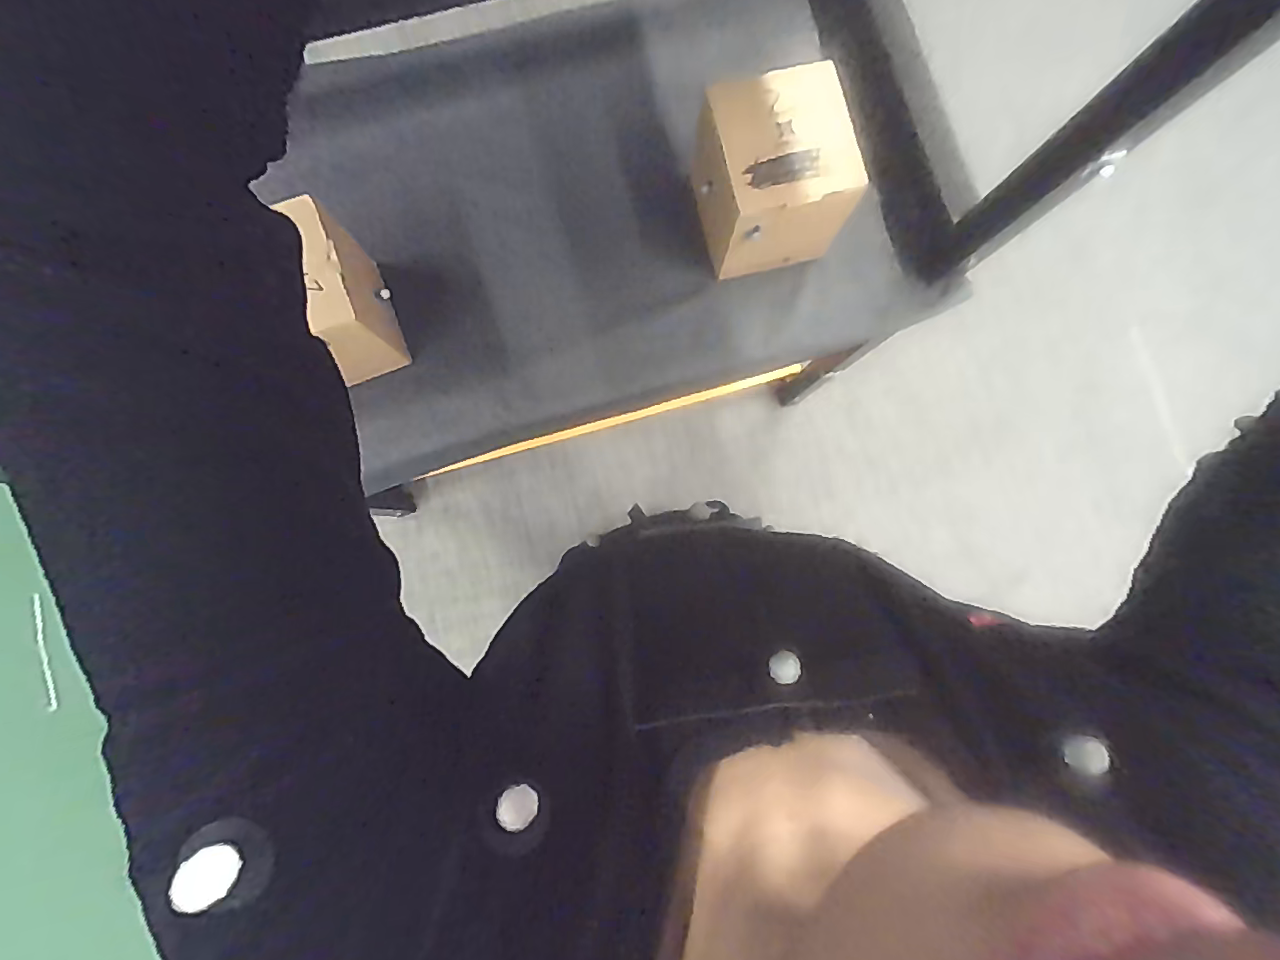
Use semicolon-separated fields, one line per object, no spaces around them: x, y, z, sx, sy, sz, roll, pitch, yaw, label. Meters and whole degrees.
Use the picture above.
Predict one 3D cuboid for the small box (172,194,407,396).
-0.441;-0.226;0.707;0.179;0.176;0.168;-21;86;-4;small box
